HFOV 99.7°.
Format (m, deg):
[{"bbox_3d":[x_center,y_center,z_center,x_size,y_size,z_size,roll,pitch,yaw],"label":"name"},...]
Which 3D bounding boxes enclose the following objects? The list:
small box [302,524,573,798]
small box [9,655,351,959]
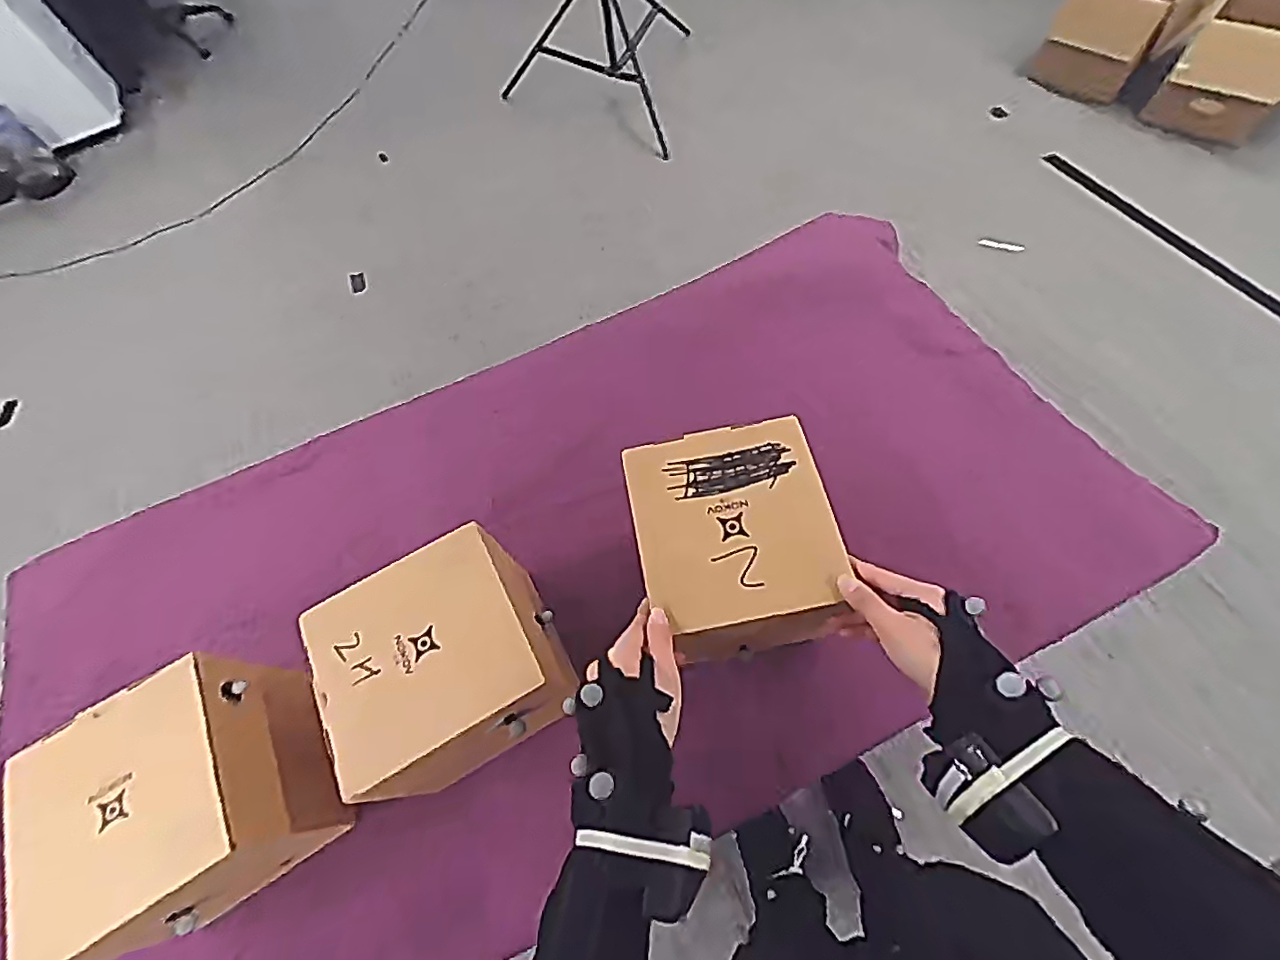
[{"bbox_3d":[-0.178,0.176,0.526,0.179,0.176,0.168,-30,62,-9],"label":"small box"},{"bbox_3d":[-0.406,0.292,0.501,0.168,0.176,0.179,-32,63,-9],"label":"small box"}]
